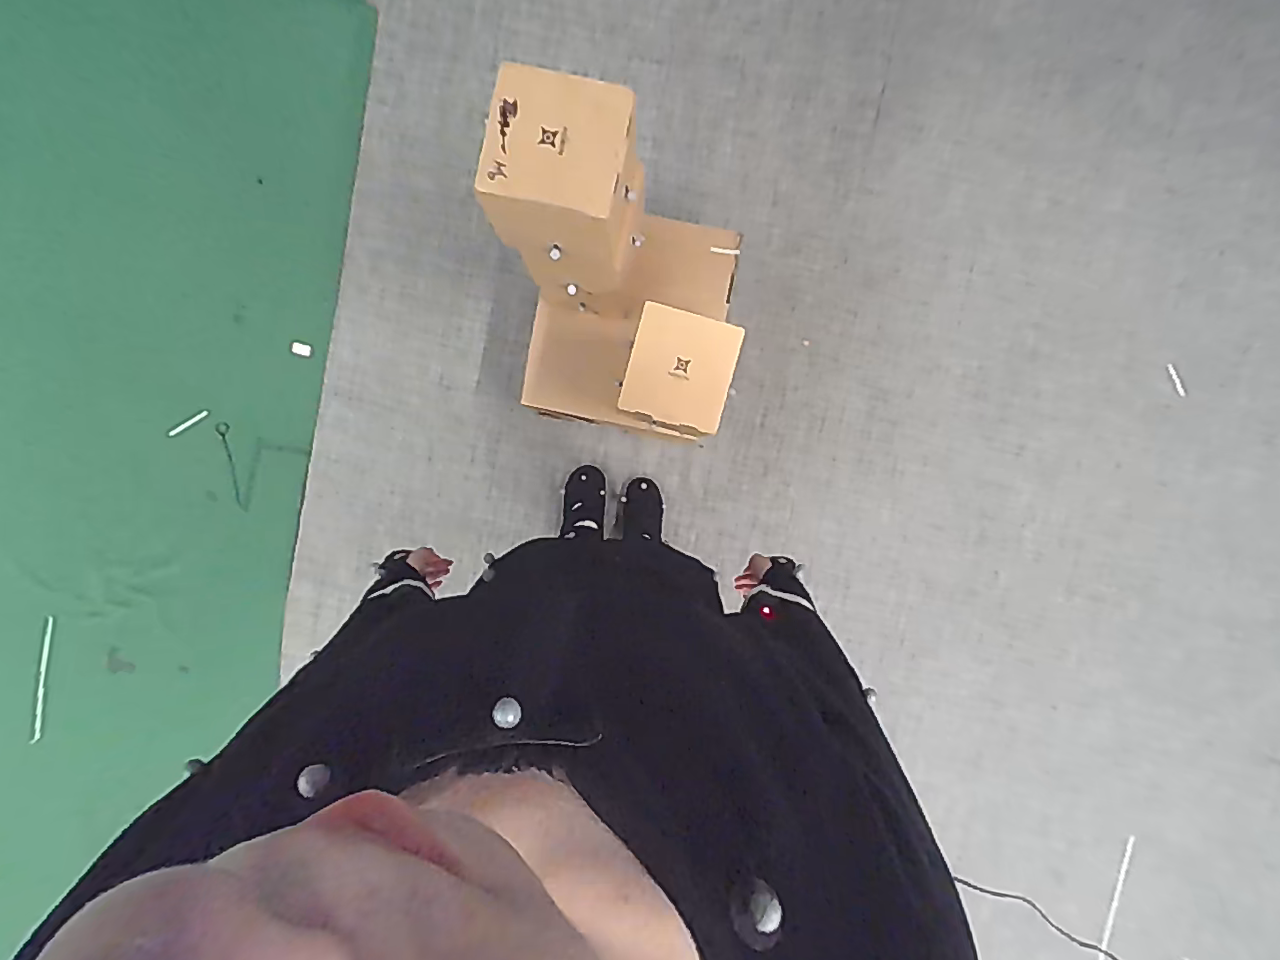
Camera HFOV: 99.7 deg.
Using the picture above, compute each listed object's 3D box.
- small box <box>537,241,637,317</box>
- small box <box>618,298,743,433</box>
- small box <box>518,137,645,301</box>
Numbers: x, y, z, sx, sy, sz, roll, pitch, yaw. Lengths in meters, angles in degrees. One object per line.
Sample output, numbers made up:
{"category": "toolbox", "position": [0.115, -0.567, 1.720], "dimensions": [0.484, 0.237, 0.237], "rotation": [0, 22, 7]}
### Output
{"category": "small box", "position": [-0.100, -0.449, 1.081], "dimensions": [0.168, 0.176, 0.179], "rotation": [11, 91, -1]}
{"category": "small box", "position": [0.060, -0.186, 0.931], "dimensions": [0.168, 0.176, 0.179], "rotation": [15, 92, -3]}
{"category": "small box", "position": [-0.093, -0.429, 0.917], "dimensions": [0.168, 0.176, 0.179], "rotation": [14, 91, -1]}
